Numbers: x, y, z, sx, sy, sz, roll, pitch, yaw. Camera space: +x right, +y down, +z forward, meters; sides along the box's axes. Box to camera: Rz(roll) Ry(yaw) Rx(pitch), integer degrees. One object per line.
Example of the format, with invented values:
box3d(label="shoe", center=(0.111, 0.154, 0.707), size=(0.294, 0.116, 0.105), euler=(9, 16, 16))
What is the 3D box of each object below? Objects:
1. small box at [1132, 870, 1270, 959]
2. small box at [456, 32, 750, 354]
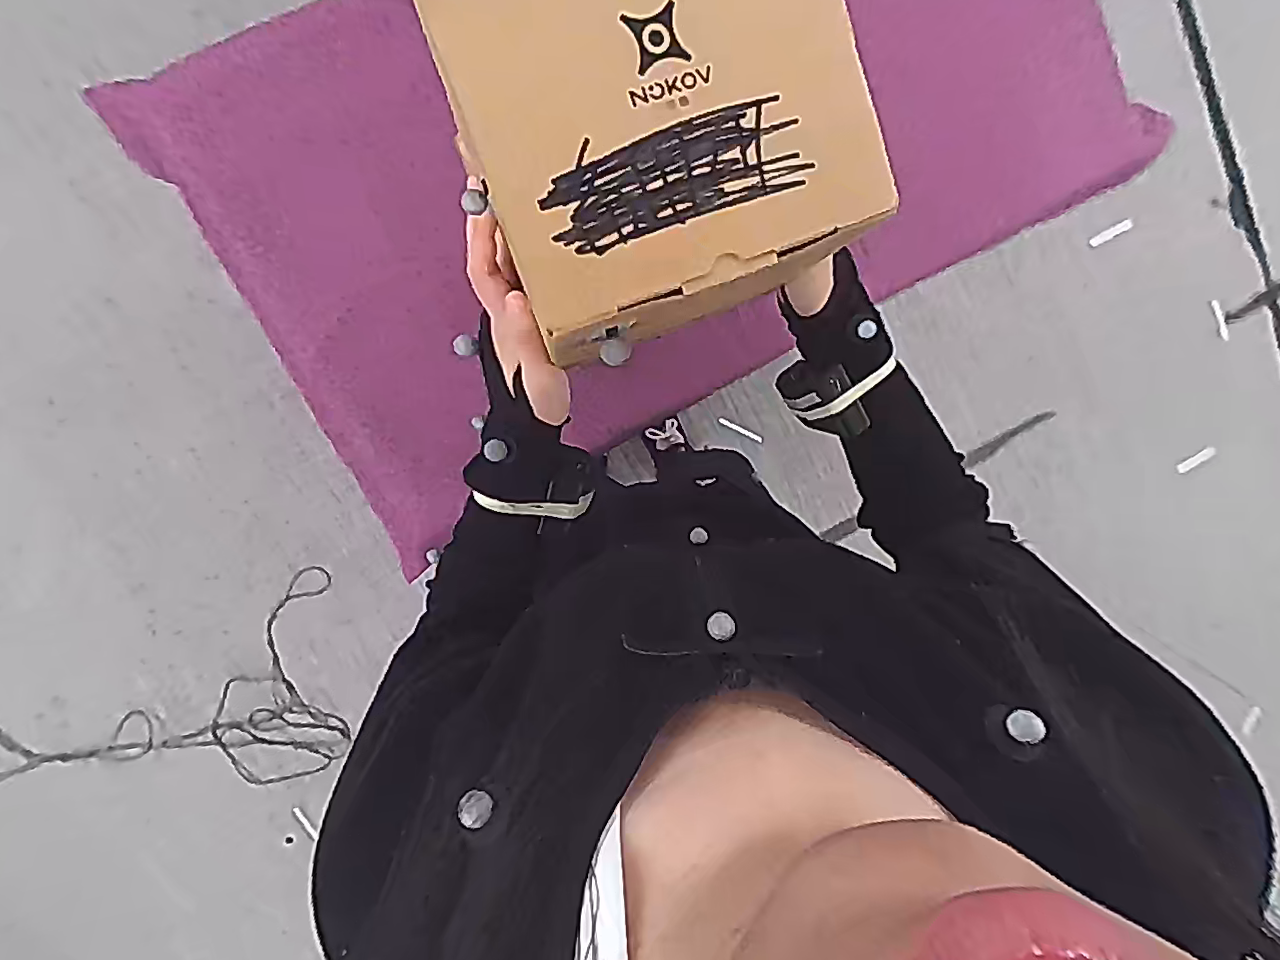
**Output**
box3d(label="small box", center=(1.491, 1.189, 1.451), size=(0.179, 0.176, 0.168), euler=(12, 98, -10))
box3d(label="small box", center=(-0.033, -0.225, 0.483), size=(0.168, 0.176, 0.179), euler=(-31, 101, -3))
